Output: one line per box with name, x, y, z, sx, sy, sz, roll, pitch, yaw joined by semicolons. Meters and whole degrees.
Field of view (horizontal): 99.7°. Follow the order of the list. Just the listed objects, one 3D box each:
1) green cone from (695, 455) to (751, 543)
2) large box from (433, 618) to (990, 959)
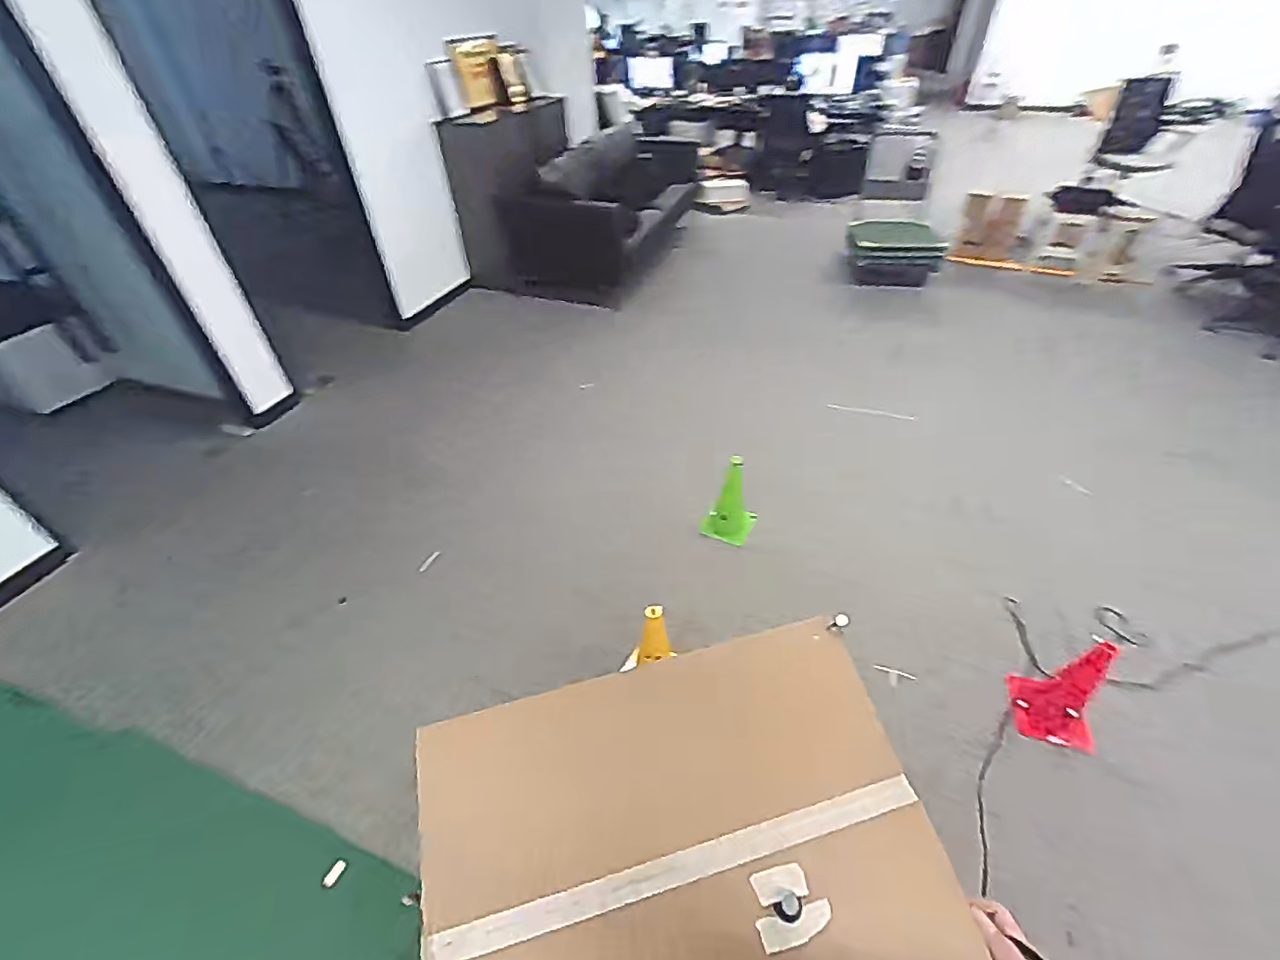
green cone;0.344;0.046;2.166;0.200;0.368;0.202;17;46;20
large box;0.039;0.386;0.569;0.408;0.320;0.320;-12;60;-9
